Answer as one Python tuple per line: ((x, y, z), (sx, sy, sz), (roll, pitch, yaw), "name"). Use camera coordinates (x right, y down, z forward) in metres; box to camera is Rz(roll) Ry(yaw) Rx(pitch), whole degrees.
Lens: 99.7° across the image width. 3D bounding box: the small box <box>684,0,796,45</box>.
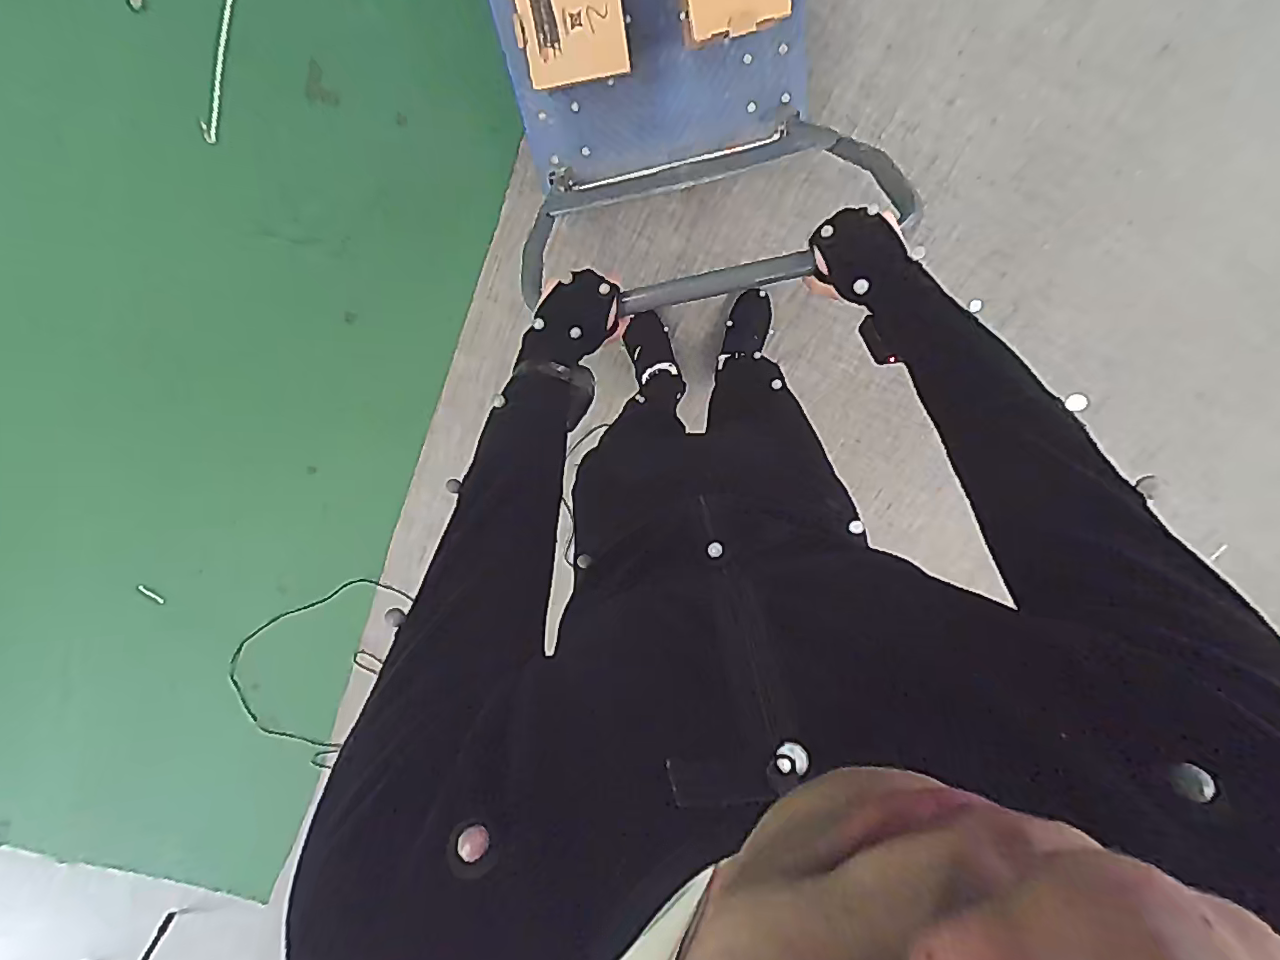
((0.158, -0.868, 0.913), (0.168, 0.176, 0.179), (-10, 126, 6), "small box")
